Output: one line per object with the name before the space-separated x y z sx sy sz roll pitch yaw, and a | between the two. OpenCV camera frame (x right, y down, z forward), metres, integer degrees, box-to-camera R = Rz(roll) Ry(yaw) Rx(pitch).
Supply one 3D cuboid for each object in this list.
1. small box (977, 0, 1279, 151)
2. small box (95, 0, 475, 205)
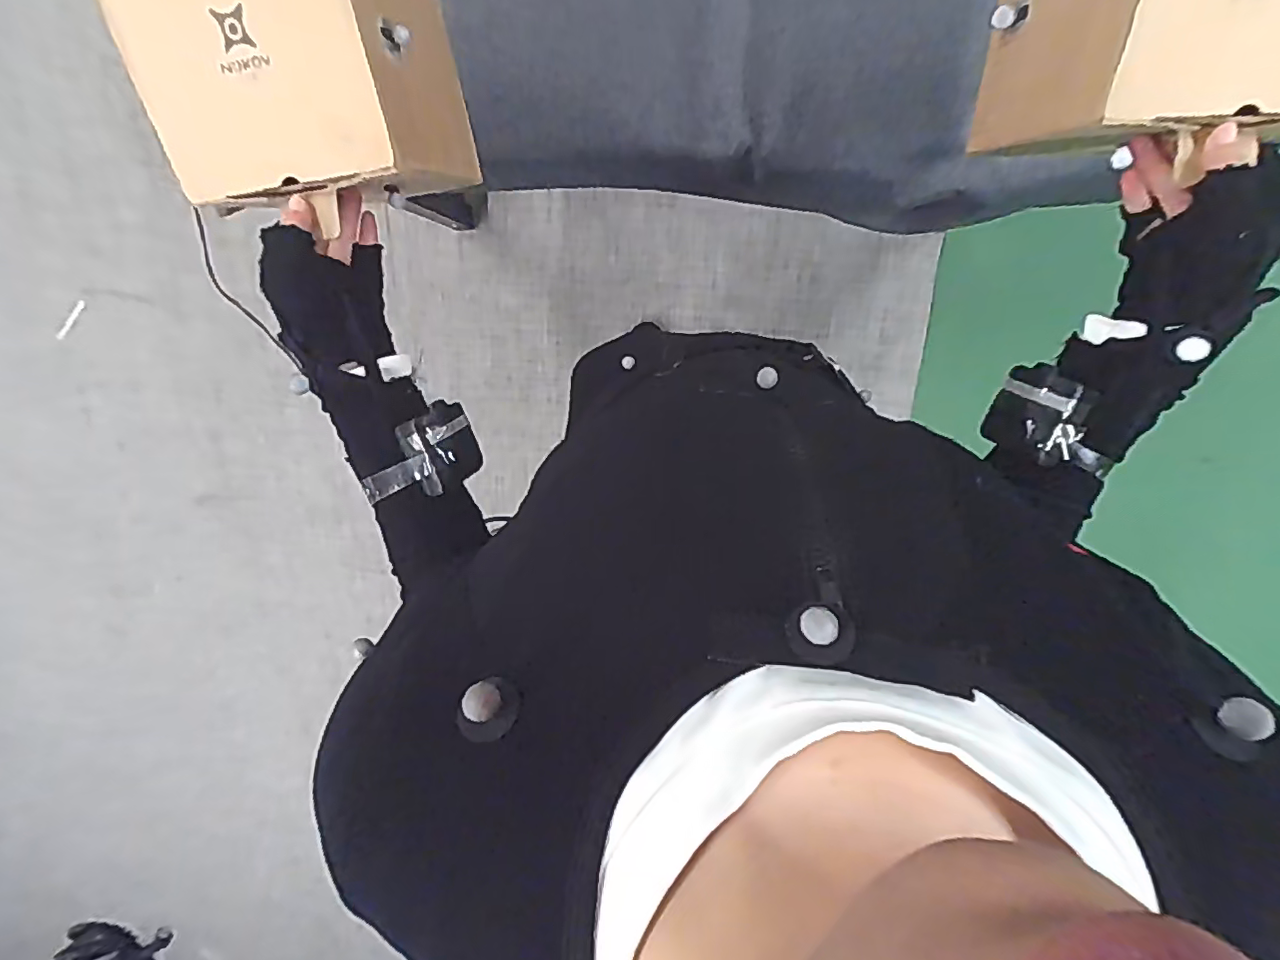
small box | 0.358 -0.323 0.355 0.168 0.176 0.179 1 116 3
small box | -0.245 -0.315 0.407 0.168 0.176 0.179 -6 115 8
